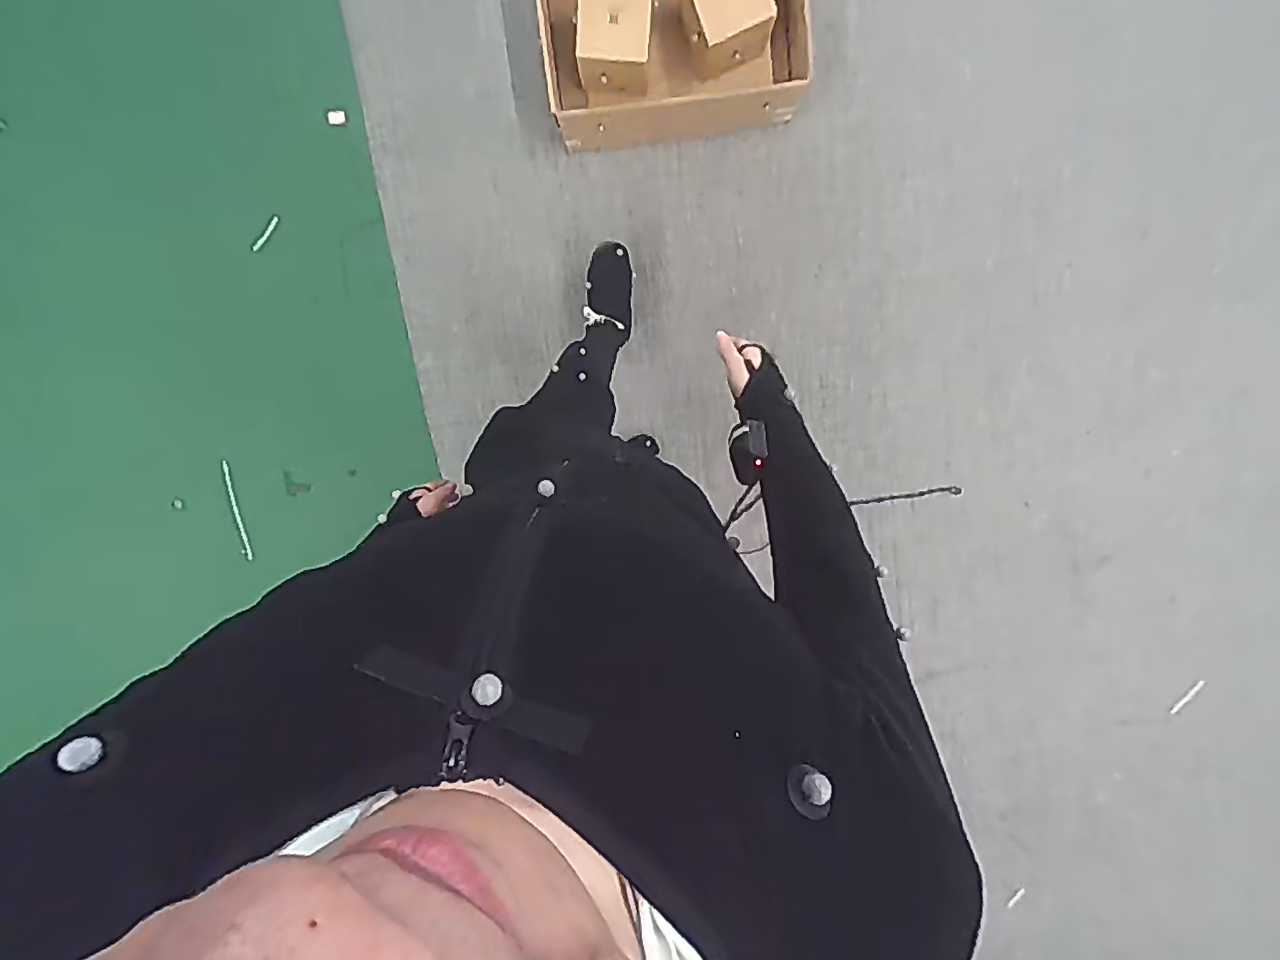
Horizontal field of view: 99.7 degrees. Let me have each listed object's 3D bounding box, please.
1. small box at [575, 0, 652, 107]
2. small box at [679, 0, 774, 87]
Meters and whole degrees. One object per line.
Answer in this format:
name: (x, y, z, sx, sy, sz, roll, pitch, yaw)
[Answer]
small box: (-0.059, -1.031, 1.294, 0.168, 0.176, 0.179, 4, 99, 0)
small box: (0.199, -1.077, 1.279, 0.168, 0.176, 0.179, -22, 99, 5)
